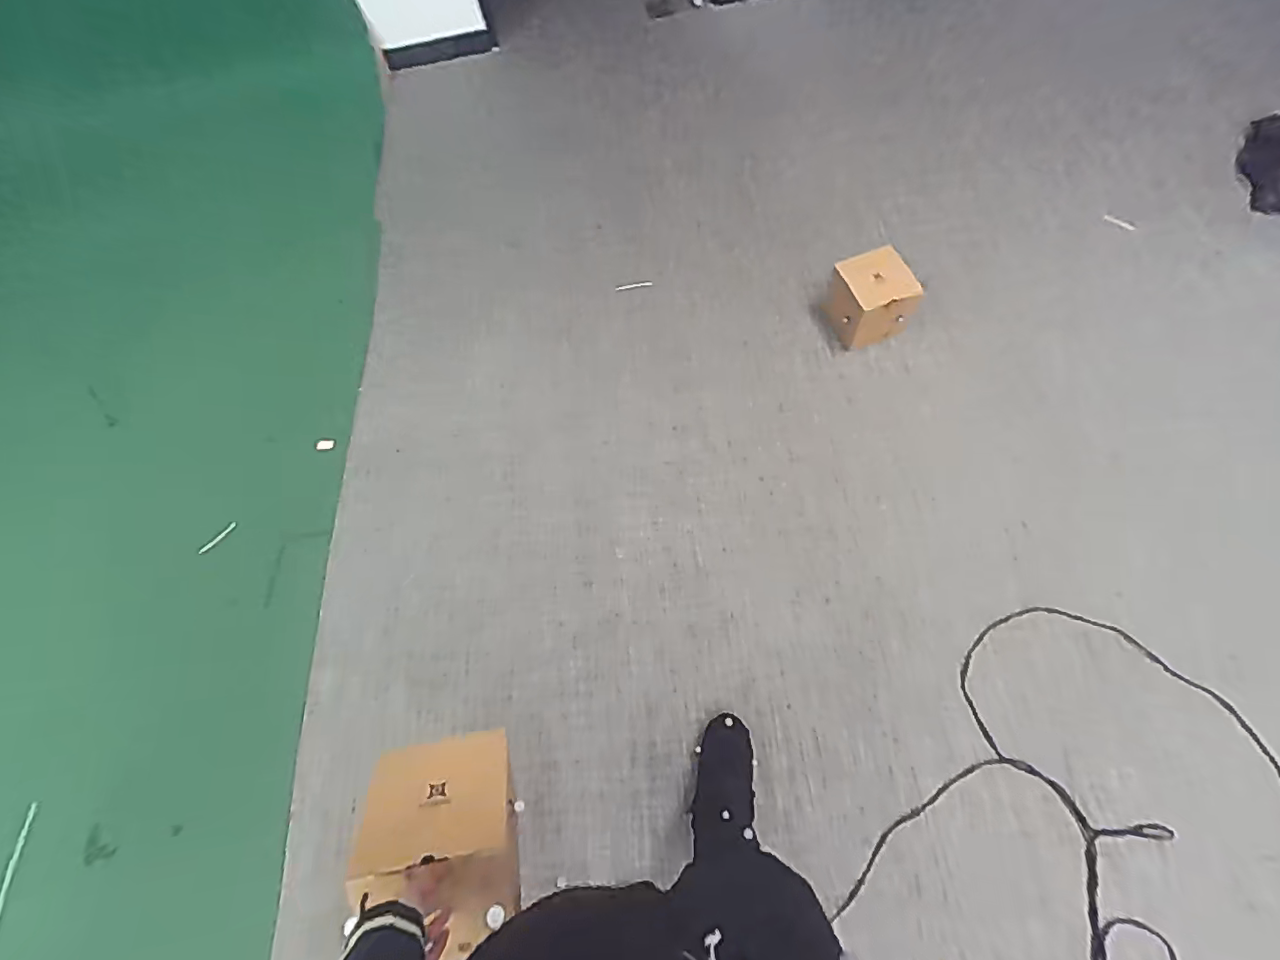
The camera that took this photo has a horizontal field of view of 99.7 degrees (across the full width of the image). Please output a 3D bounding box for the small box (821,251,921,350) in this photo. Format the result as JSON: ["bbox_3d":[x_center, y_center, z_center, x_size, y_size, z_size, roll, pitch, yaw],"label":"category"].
[{"bbox_3d":[0.615,-0.475,1.463,0.168,0.176,0.179,-19,64,-3],"label":"small box"}]
